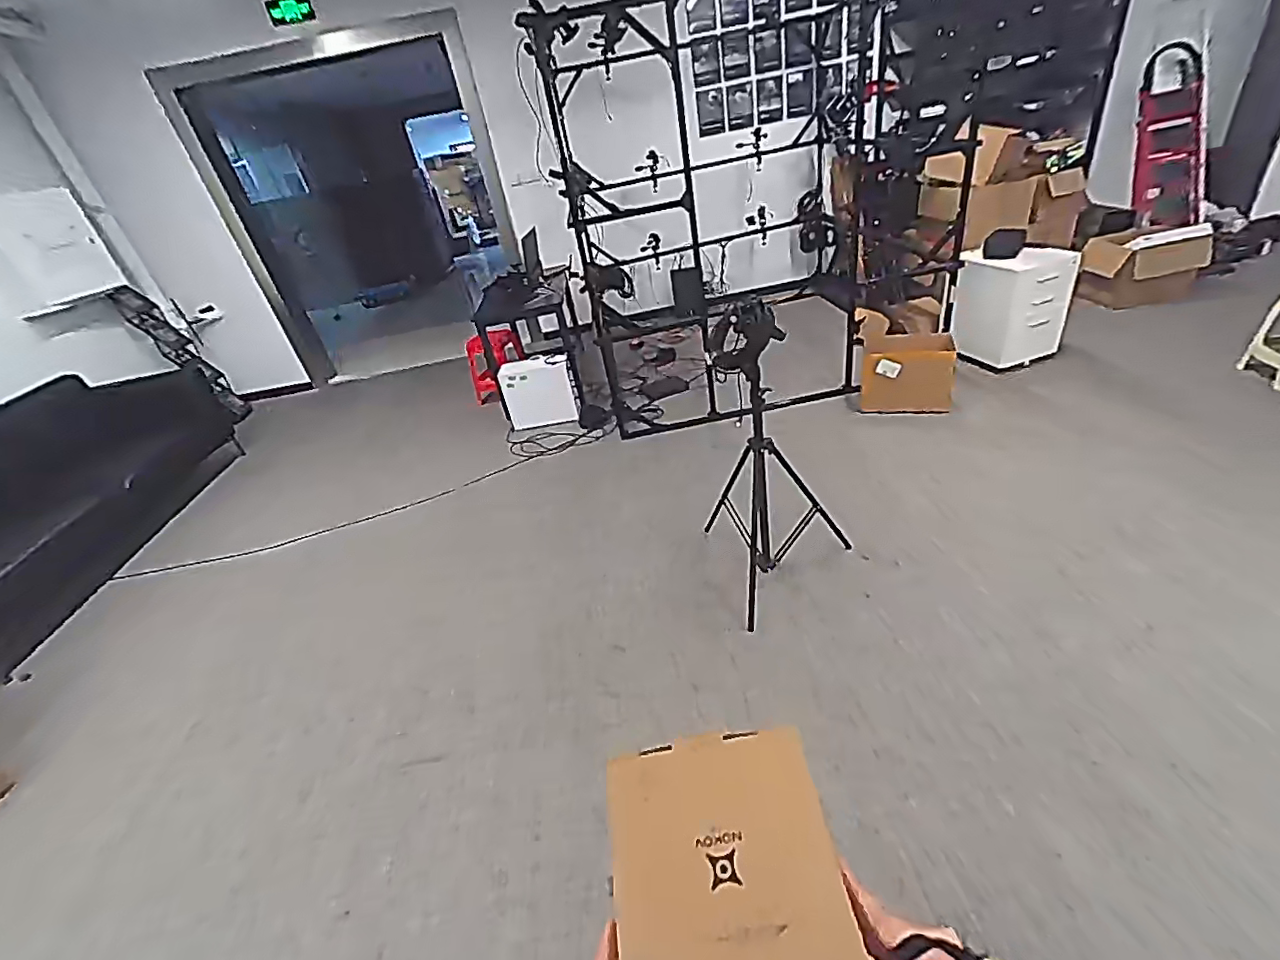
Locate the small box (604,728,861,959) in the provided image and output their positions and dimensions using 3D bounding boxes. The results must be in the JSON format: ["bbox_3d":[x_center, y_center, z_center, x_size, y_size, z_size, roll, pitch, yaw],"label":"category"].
[{"bbox_3d":[0.066,0.340,0.456,0.168,0.176,0.179,-10,45,0],"label":"small box"}]

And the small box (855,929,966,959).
[{"bbox_3d":[0.427,0.829,0.819,0.168,0.176,0.179,-10,32,3],"label":"small box"}]
